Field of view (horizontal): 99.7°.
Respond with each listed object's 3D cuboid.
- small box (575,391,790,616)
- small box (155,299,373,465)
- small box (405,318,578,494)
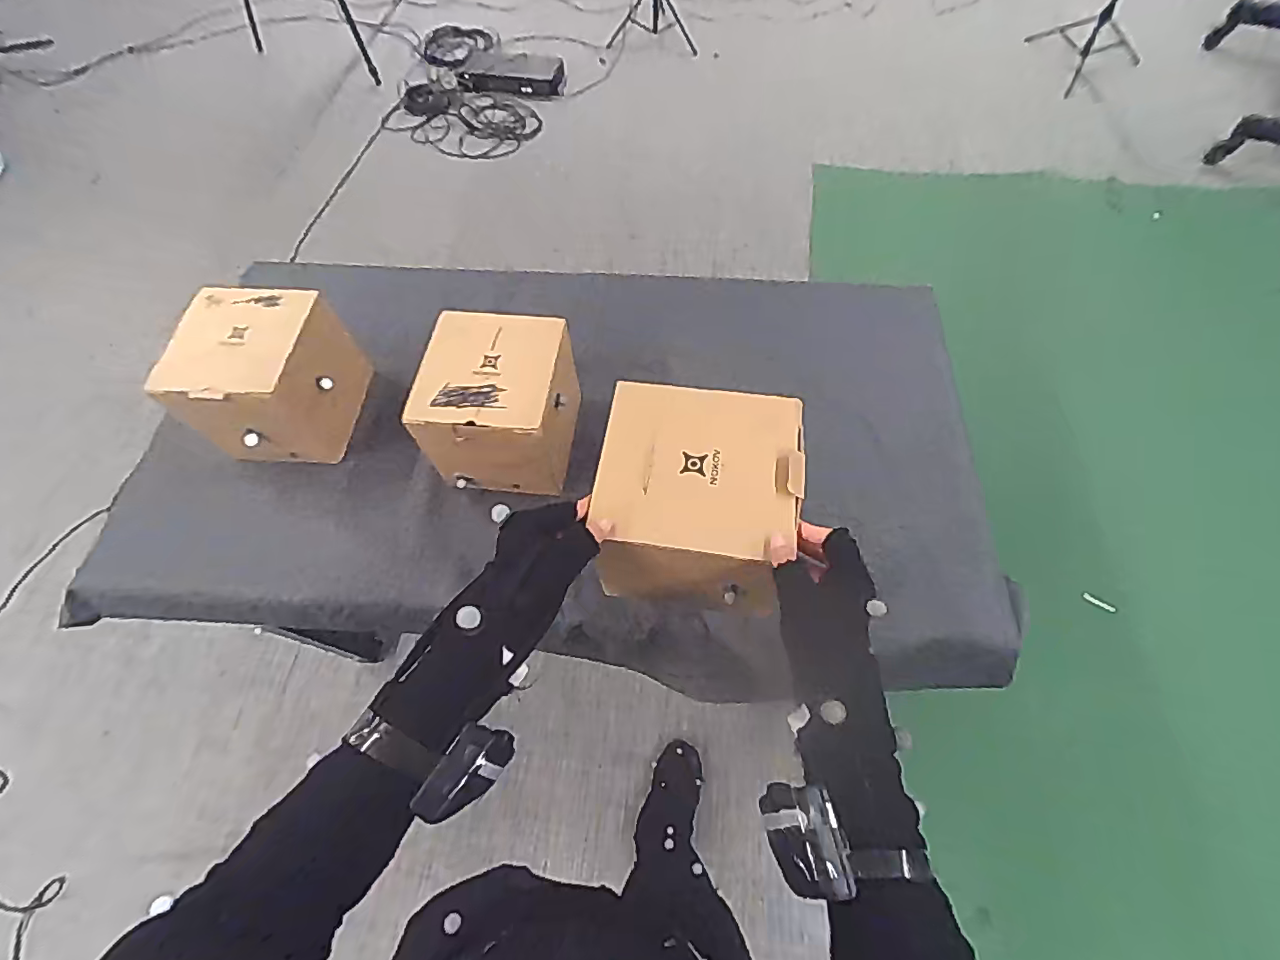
[{"bbox_3d":[0.049,0.031,0.546,0.179,0.176,0.168,5,61,9],"label":"small box"},{"bbox_3d":[-0.513,-0.134,0.772,0.168,0.176,0.179,2,63,3],"label":"small box"},{"bbox_3d":[-0.186,-0.095,0.740,0.168,0.176,0.179,5,61,4],"label":"small box"}]
